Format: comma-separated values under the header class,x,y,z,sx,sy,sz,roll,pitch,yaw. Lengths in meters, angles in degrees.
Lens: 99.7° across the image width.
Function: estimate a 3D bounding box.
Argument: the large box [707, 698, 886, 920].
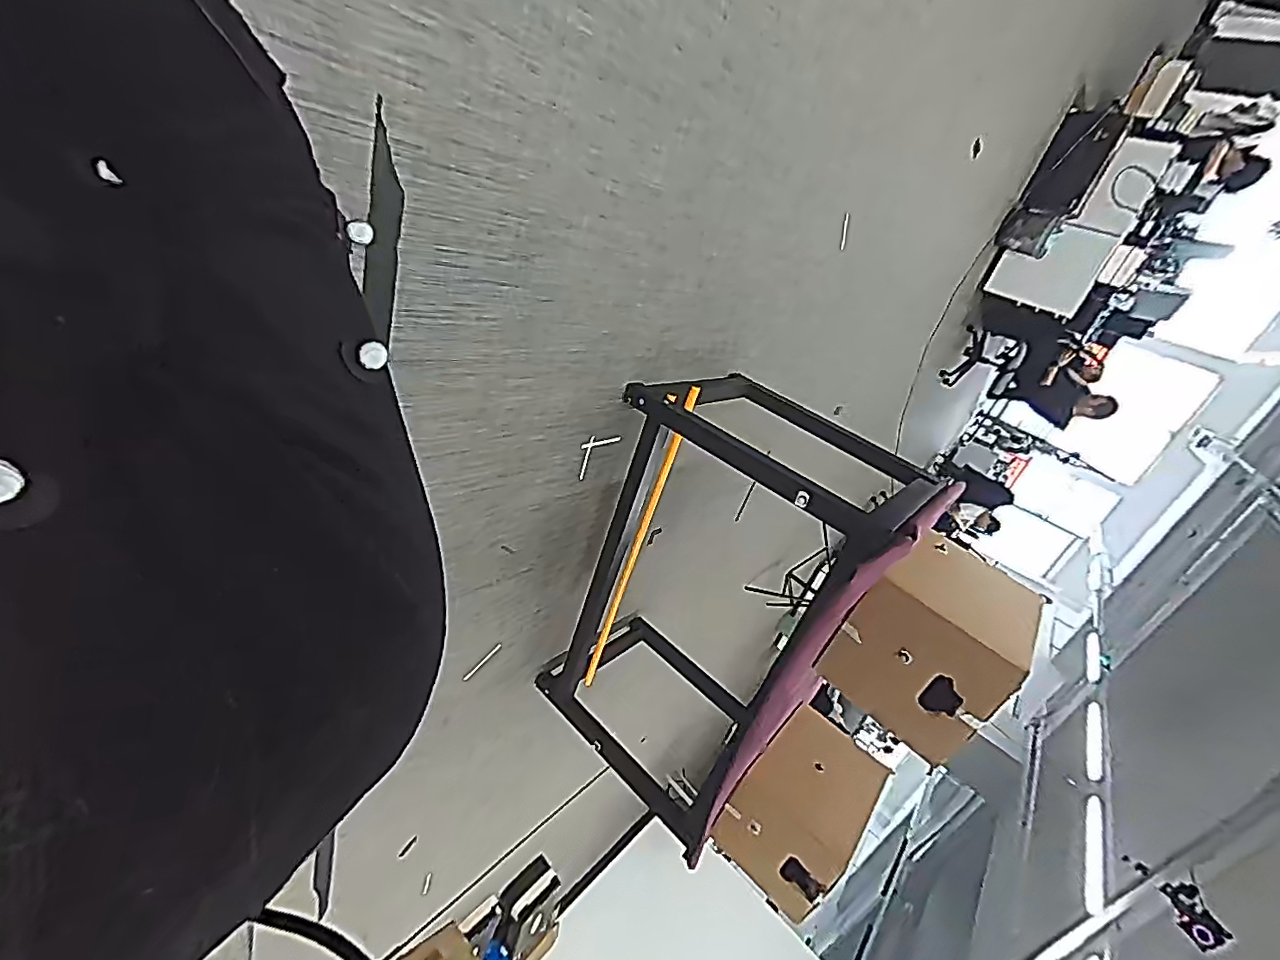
class,x,y,z,sx,sy,sz,roll,pitch,yaw
large box,0.461,0.940,1.598,0.408,0.320,0.320,-18,135,-50
